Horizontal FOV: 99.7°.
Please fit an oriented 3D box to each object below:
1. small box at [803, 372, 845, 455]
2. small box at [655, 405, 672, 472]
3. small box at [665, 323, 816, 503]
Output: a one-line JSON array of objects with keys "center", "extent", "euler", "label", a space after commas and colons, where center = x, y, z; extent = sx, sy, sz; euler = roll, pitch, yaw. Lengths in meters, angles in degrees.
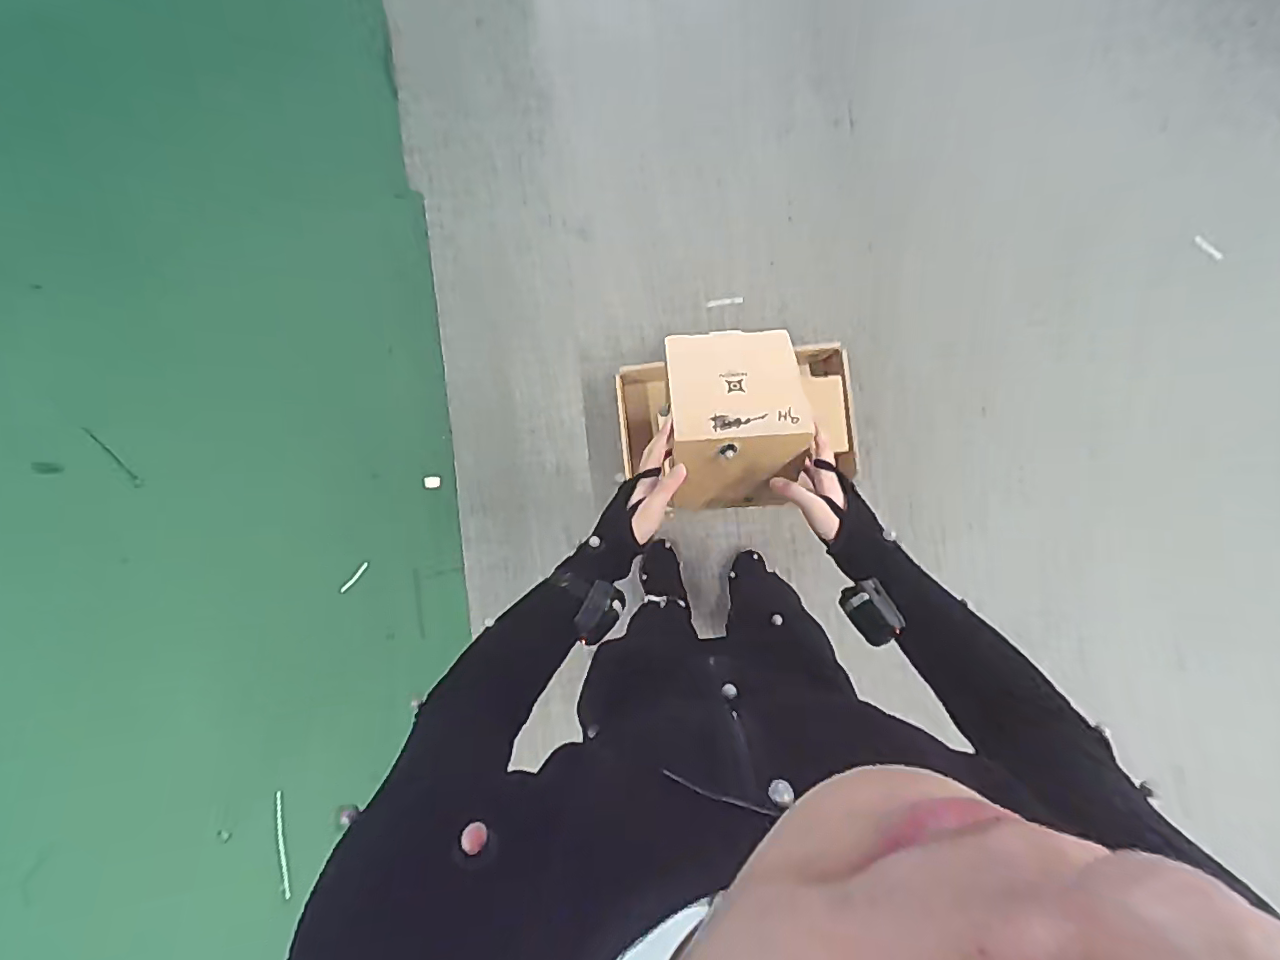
[{"center": [0.386, -0.153, 1.322], "extent": [0.168, 0.176, 0.179], "euler": [-5, 88, 3], "label": "small box"}, {"center": [0.133, -0.115, 1.488], "extent": [0.168, 0.176, 0.179], "euler": [-7, 88, 1], "label": "small box"}, {"center": [0.122, -0.088, 0.737], "extent": [0.168, 0.176, 0.179], "euler": [-4, 57, 1], "label": "small box"}]
